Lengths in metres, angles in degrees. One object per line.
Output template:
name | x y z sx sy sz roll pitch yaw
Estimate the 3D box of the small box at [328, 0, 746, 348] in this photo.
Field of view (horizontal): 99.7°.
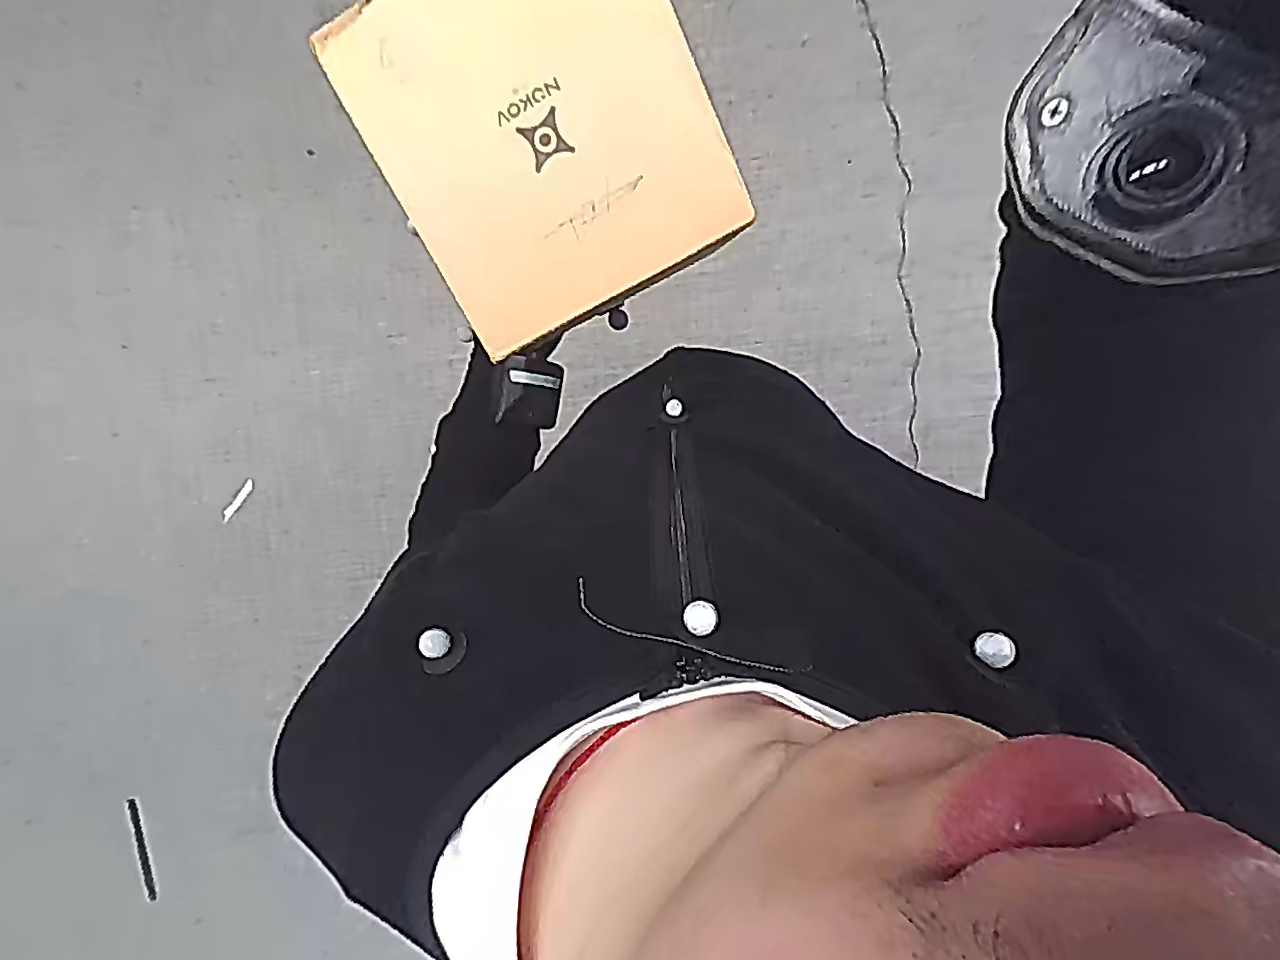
small box | -0.051 -0.205 0.361 0.168 0.176 0.179 -25 106 8
